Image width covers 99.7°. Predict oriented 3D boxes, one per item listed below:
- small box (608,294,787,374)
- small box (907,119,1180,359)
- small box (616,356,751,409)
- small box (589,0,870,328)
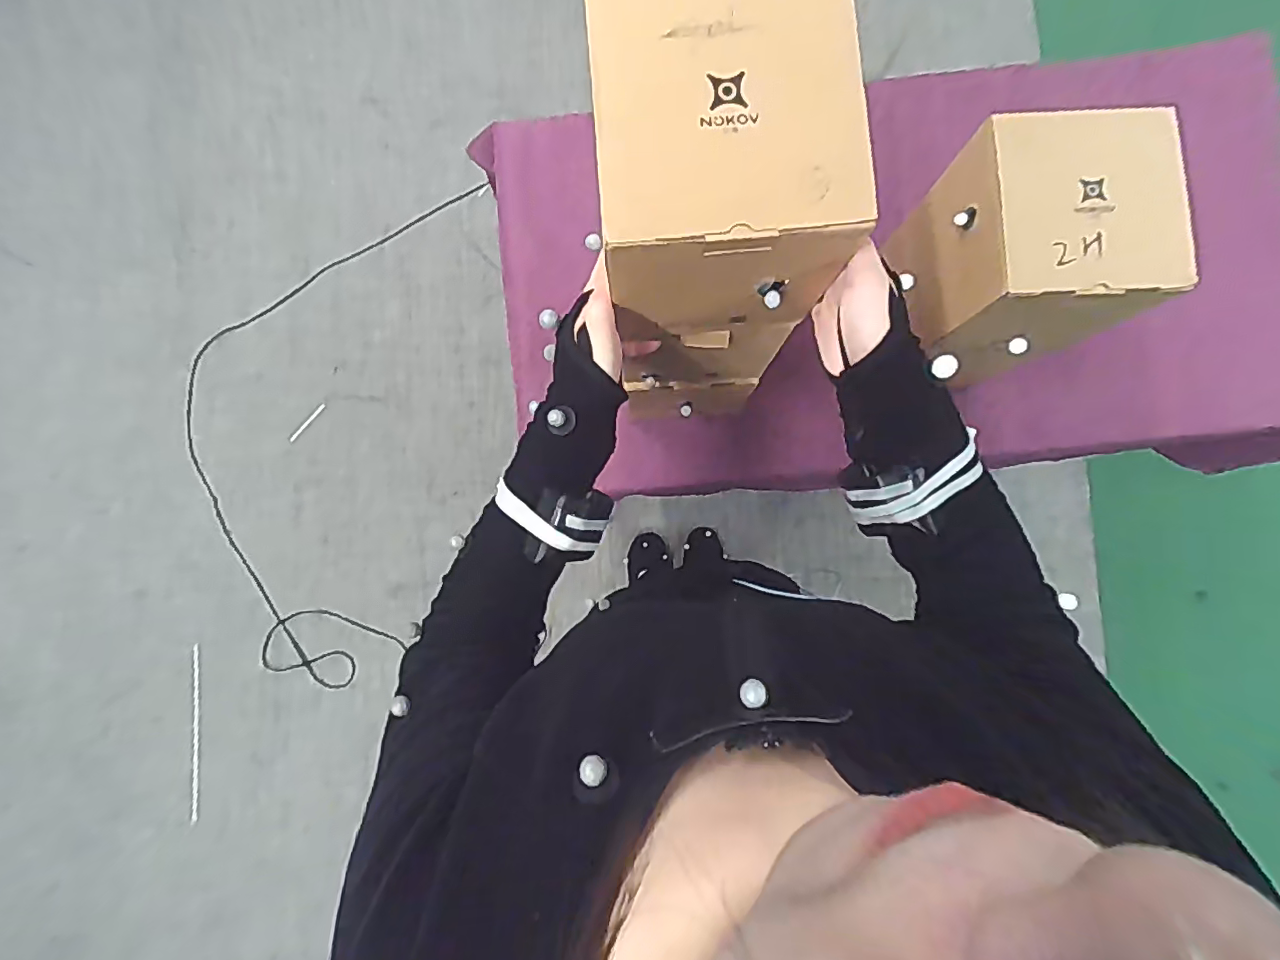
[{"bbox_3d":[0.053,-0.215,0.572,0.168,0.176,0.179,-1,85,0],"label":"small box"},{"bbox_3d":[0.401,-0.240,0.571,0.168,0.176,0.179,0,85,1],"label":"small box"},{"bbox_3d":[0.052,-0.194,0.736,0.168,0.176,0.179,-2,86,0],"label":"small box"},{"bbox_3d":[0.053,-0.222,0.407,0.168,0.176,0.179,-3,87,-1],"label":"small box"}]
